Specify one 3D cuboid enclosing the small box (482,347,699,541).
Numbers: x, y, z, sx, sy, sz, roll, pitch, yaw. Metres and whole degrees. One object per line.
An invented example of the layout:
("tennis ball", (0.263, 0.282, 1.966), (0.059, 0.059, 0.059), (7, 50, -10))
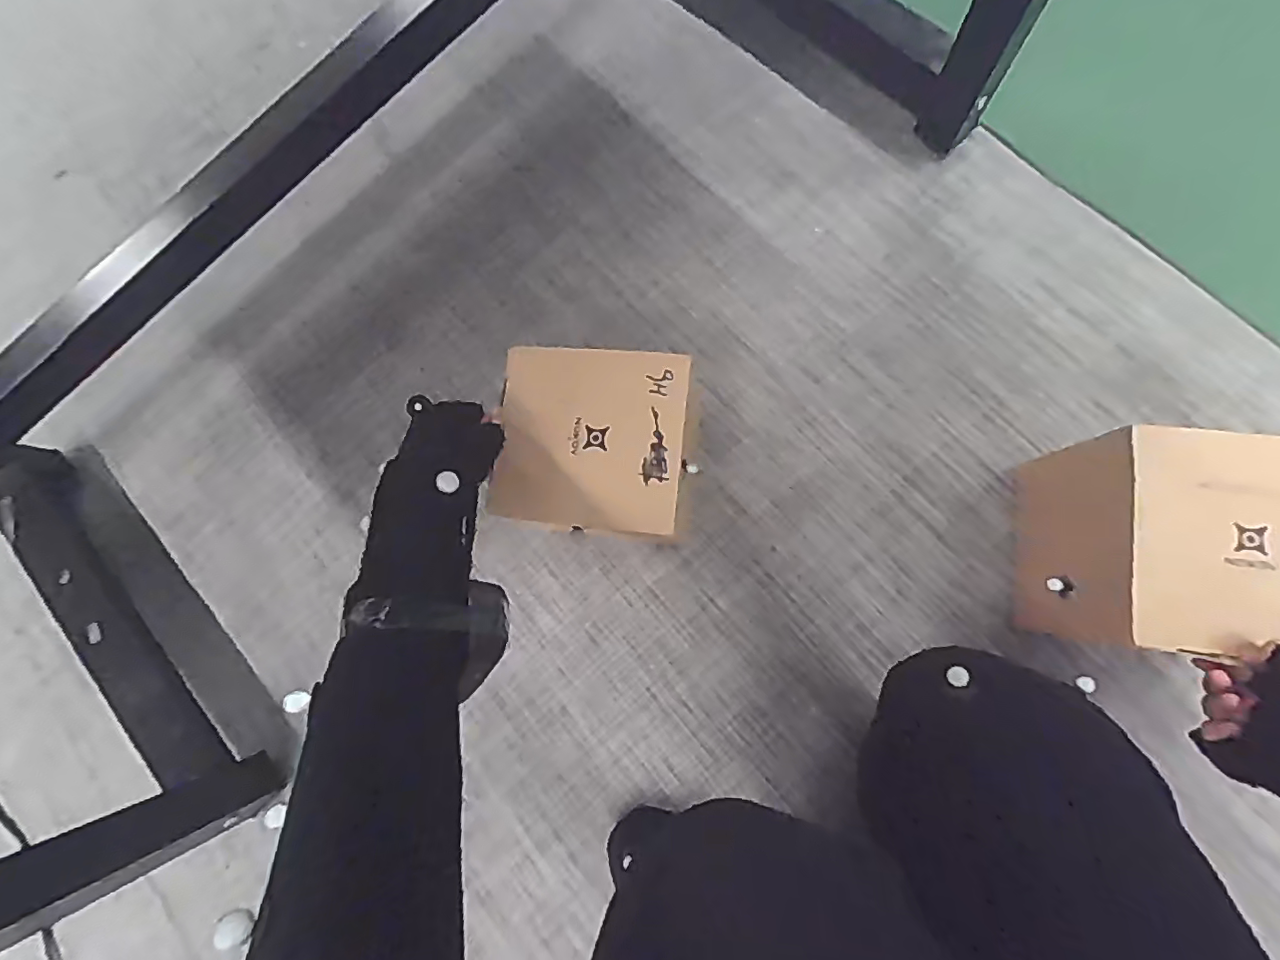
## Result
("small box", (-0.038, -0.027, 0.569), (0.179, 0.176, 0.168), (5, 82, 10))
